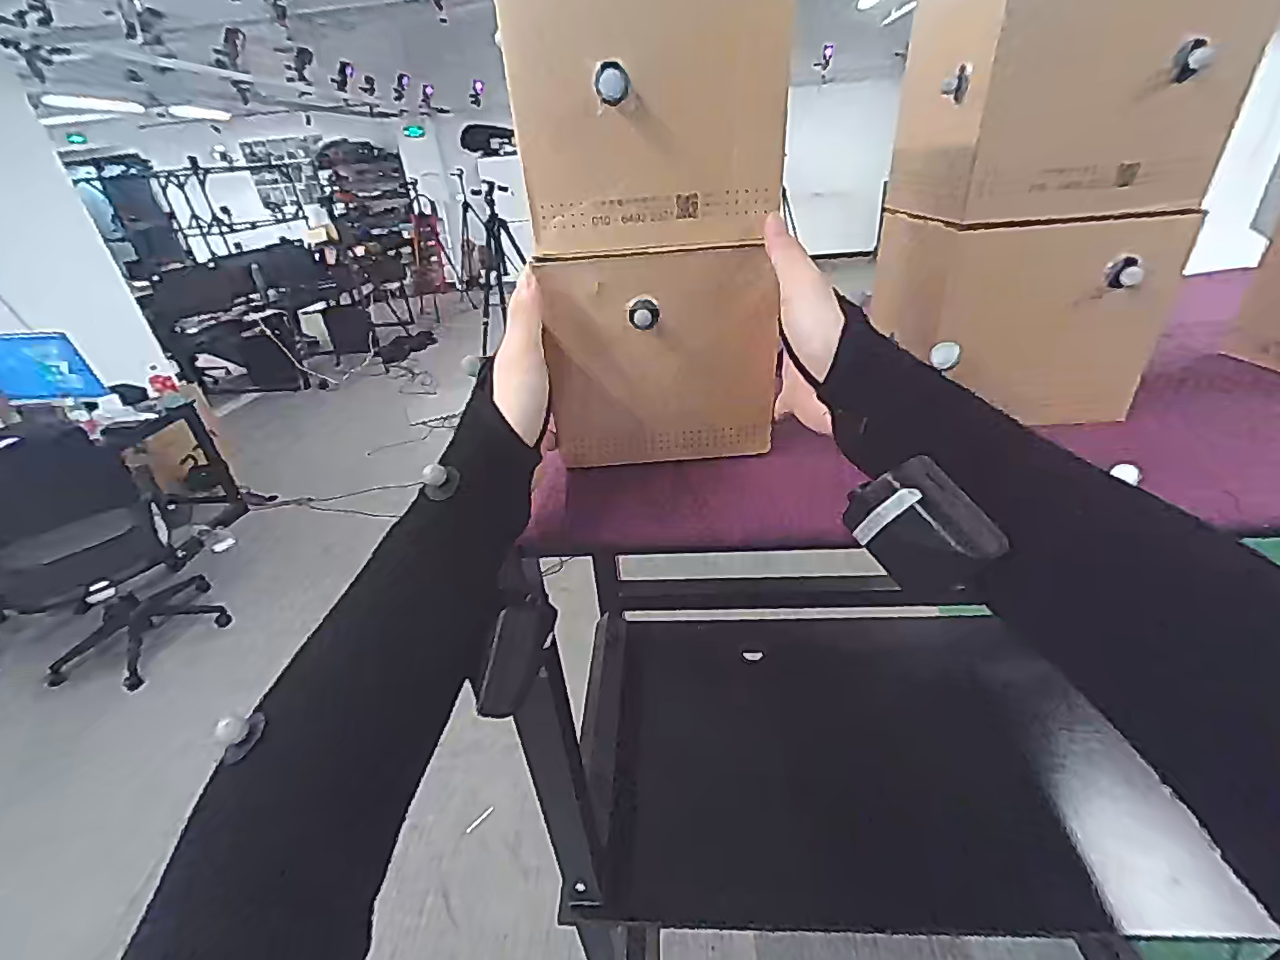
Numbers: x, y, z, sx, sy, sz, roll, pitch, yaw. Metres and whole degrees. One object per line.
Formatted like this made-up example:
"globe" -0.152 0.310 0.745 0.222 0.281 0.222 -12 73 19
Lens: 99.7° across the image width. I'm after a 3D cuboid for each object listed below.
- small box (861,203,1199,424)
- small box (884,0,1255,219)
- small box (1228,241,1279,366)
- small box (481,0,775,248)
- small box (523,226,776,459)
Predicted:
"small box" 0.324 -0.161 0.499 0.179 0.176 0.168 -2 30 5
"small box" 0.309 -0.302 0.419 0.168 0.176 0.179 -1 30 5
"small box" 0.695 -0.177 0.465 0.179 0.176 0.168 -3 29 5
"small box" -0.001 -0.268 0.388 0.168 0.176 0.179 -5 33 1
"small box" 0.011 -0.129 0.470 0.179 0.176 0.168 -5 34 1
